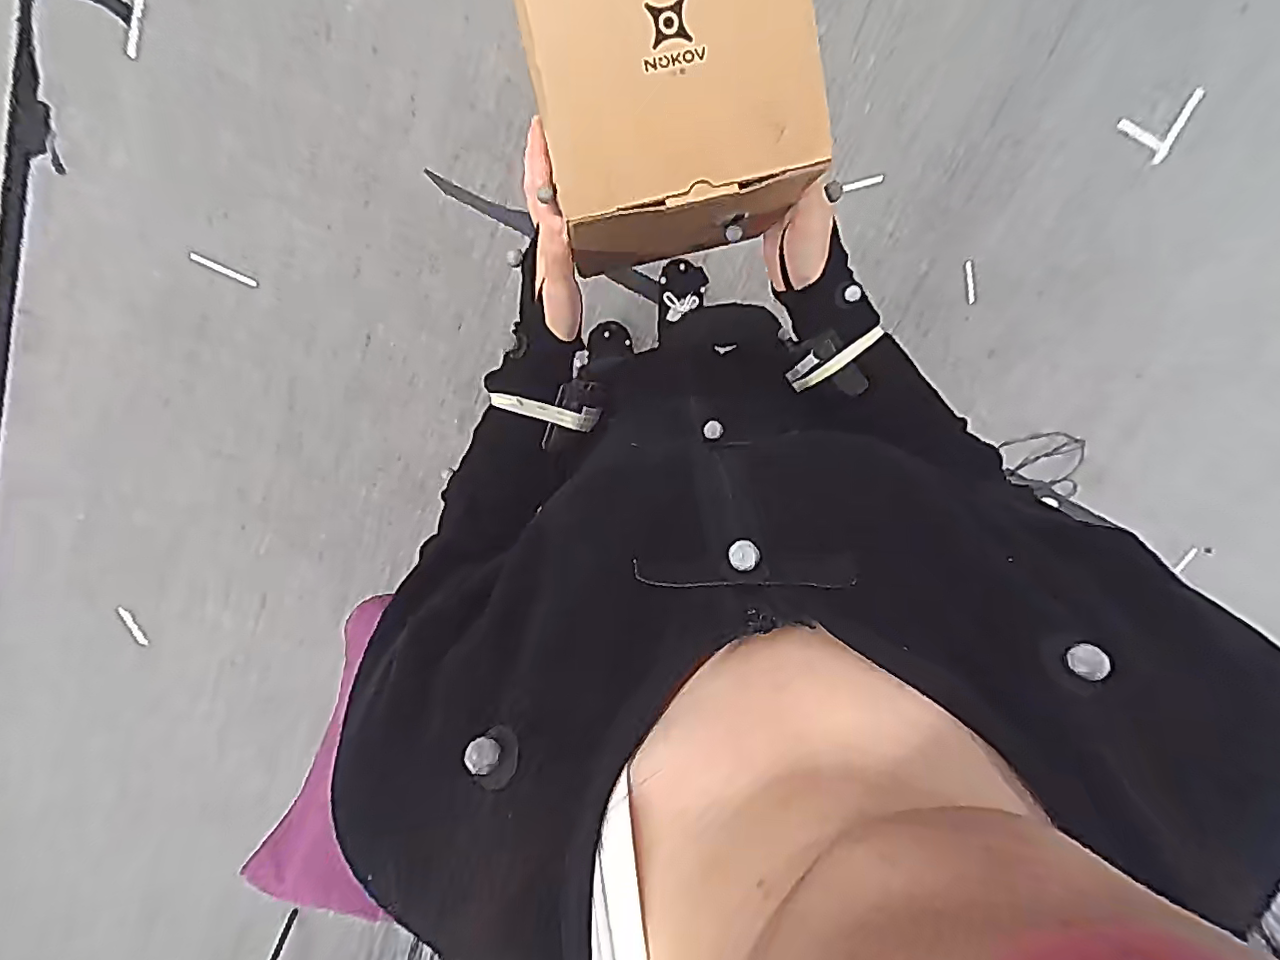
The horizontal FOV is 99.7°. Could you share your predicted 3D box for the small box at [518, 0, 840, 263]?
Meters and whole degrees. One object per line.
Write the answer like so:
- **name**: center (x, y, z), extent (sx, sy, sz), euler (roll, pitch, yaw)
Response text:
- **small box**: center (0.016, -0.265, 0.377), extent (0.168, 0.176, 0.179), euler (-14, 100, -2)
